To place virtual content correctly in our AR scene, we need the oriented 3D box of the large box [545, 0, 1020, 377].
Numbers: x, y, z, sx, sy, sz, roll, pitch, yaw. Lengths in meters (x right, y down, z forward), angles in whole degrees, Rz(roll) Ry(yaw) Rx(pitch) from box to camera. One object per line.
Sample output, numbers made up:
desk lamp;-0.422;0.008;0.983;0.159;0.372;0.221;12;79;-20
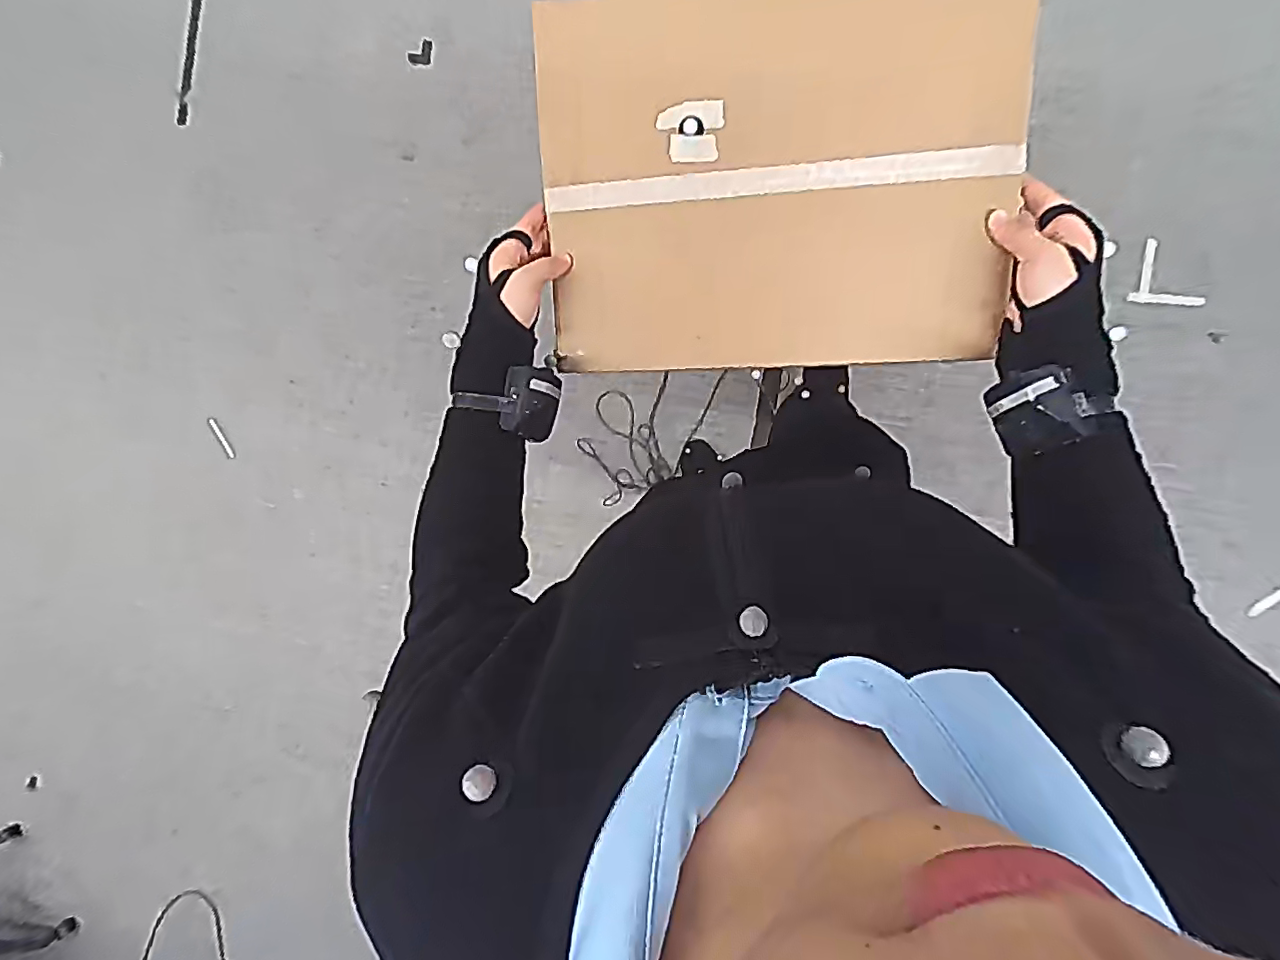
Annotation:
large box;0.140;-0.292;0.632;0.408;0.320;0.320;-1;101;9
